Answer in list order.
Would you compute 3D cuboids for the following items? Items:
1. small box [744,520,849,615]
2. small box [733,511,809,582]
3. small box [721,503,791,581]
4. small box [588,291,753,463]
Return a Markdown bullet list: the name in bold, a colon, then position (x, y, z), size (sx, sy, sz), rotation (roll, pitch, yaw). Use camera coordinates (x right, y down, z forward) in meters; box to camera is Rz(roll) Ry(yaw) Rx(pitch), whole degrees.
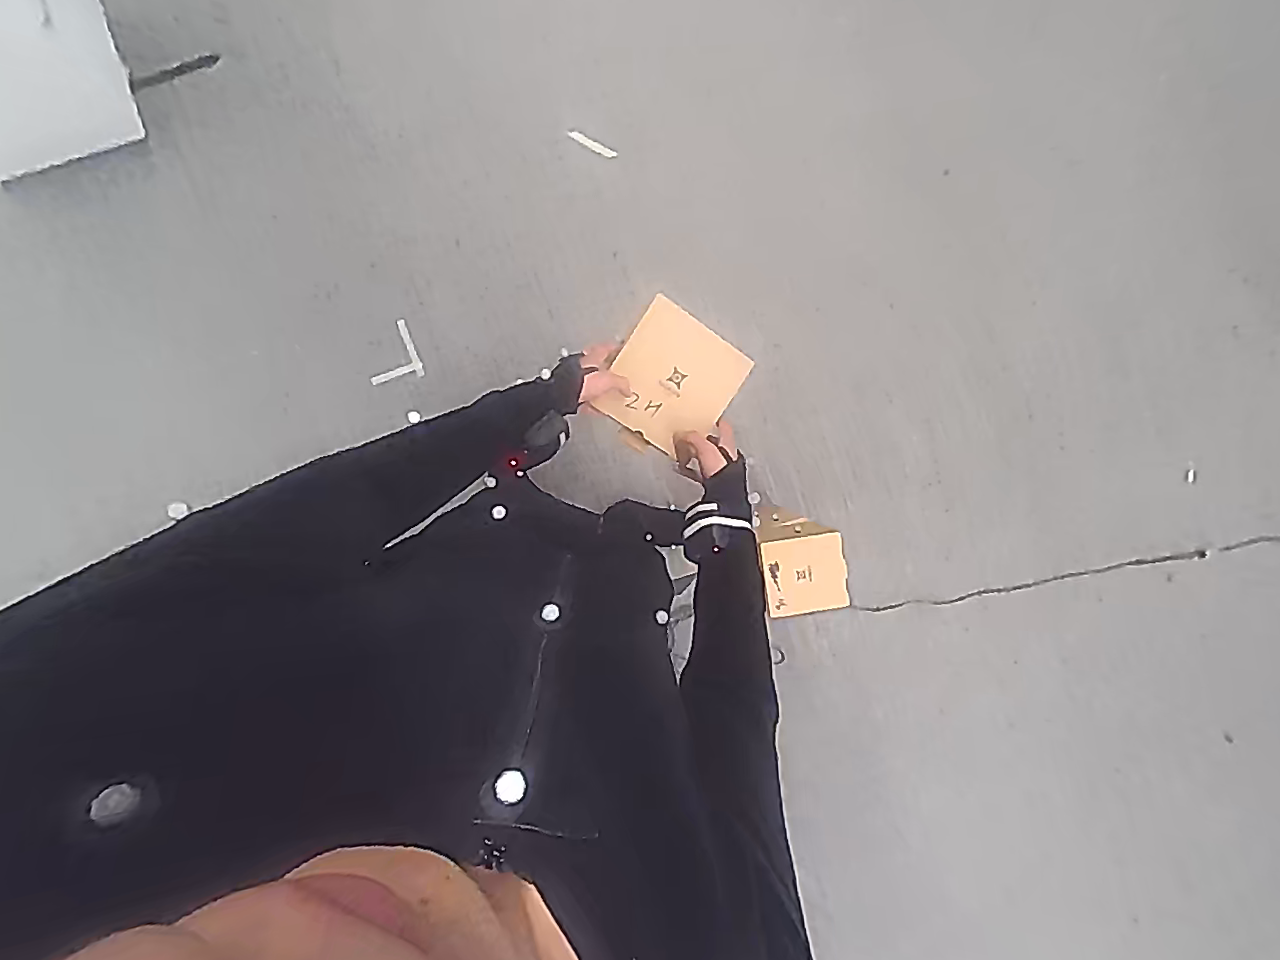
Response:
- **small box**: position (0.350, 0.192, 1.230), size (0.179, 0.176, 0.168), rotation (-8, 94, -1)
- **small box**: position (0.350, 0.183, 1.394), size (0.168, 0.176, 0.179), rotation (-16, 94, 0)
- **small box**: position (0.347, 0.172, 1.556), size (0.179, 0.176, 0.168), rotation (-17, 93, 0)
- **small box**: position (0.032, -0.151, 0.808), size (0.168, 0.176, 0.179), rotation (33, 95, -13)
